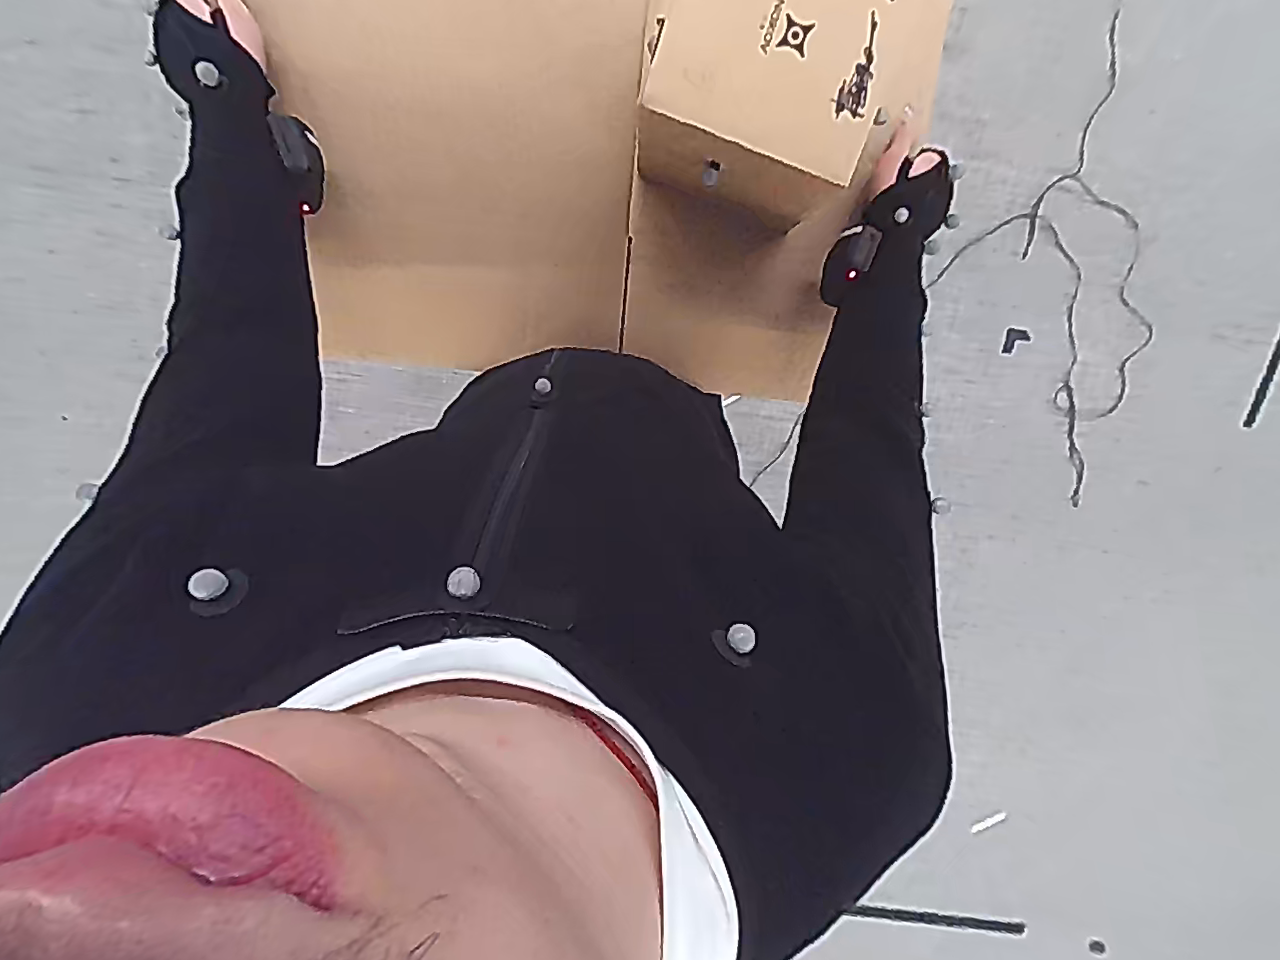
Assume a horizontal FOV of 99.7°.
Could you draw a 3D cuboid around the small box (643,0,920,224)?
[{"bbox_3d":[0.110,-0.353,0.485,0.179,0.176,0.168,19,103,-4],"label":"small box"}]
